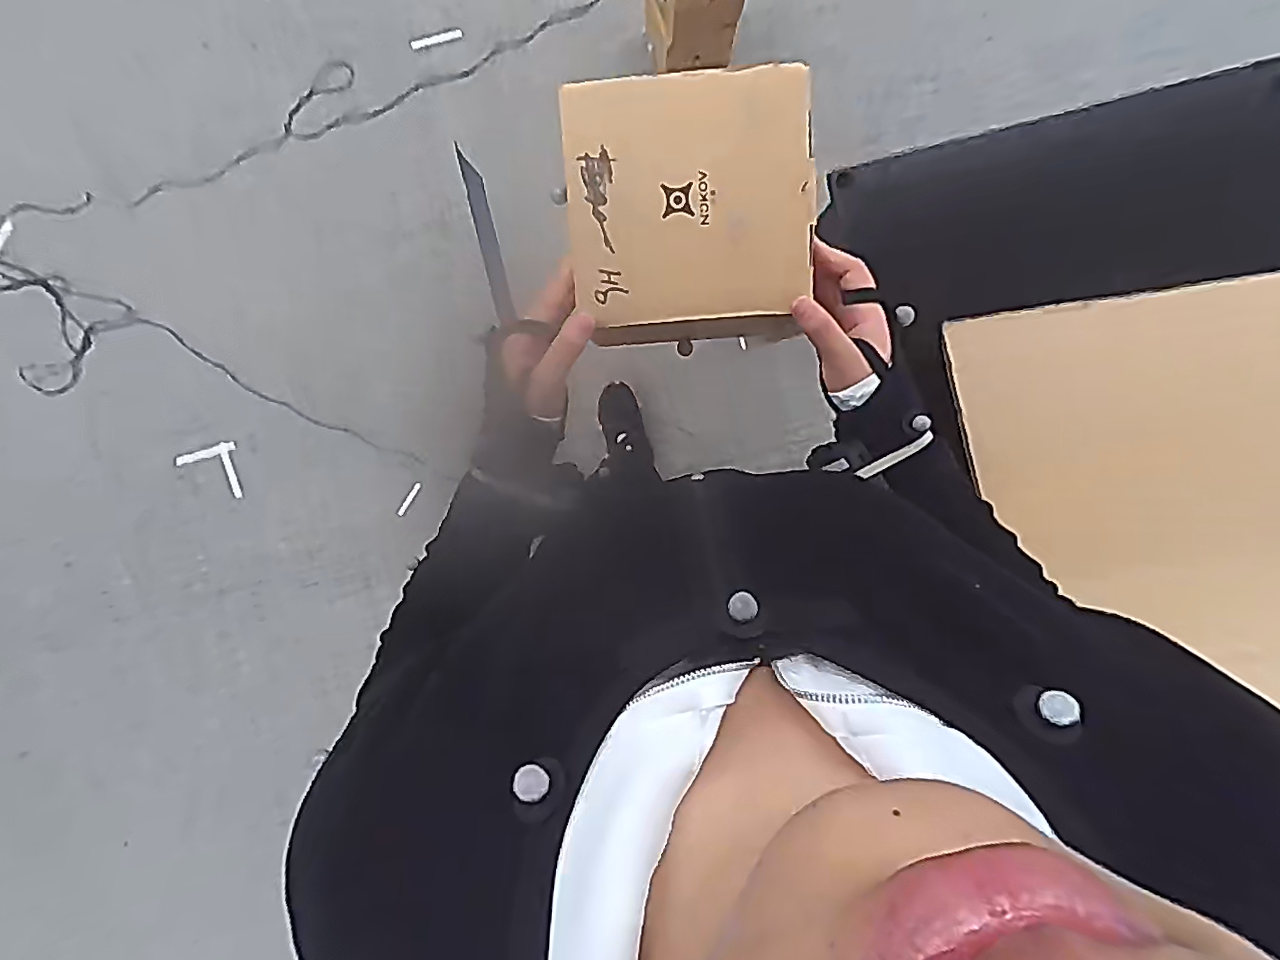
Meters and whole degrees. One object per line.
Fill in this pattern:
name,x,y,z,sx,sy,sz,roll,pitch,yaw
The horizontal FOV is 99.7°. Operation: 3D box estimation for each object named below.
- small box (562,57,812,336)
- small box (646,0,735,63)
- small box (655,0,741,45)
small box,0.034,-0.221,0.466,0.179,0.176,0.168,-4,98,0
small box,0.117,-1.109,1.333,0.179,0.176,0.168,-18,93,2
small box,0.120,-1.101,1.170,0.179,0.176,0.168,-20,94,1
